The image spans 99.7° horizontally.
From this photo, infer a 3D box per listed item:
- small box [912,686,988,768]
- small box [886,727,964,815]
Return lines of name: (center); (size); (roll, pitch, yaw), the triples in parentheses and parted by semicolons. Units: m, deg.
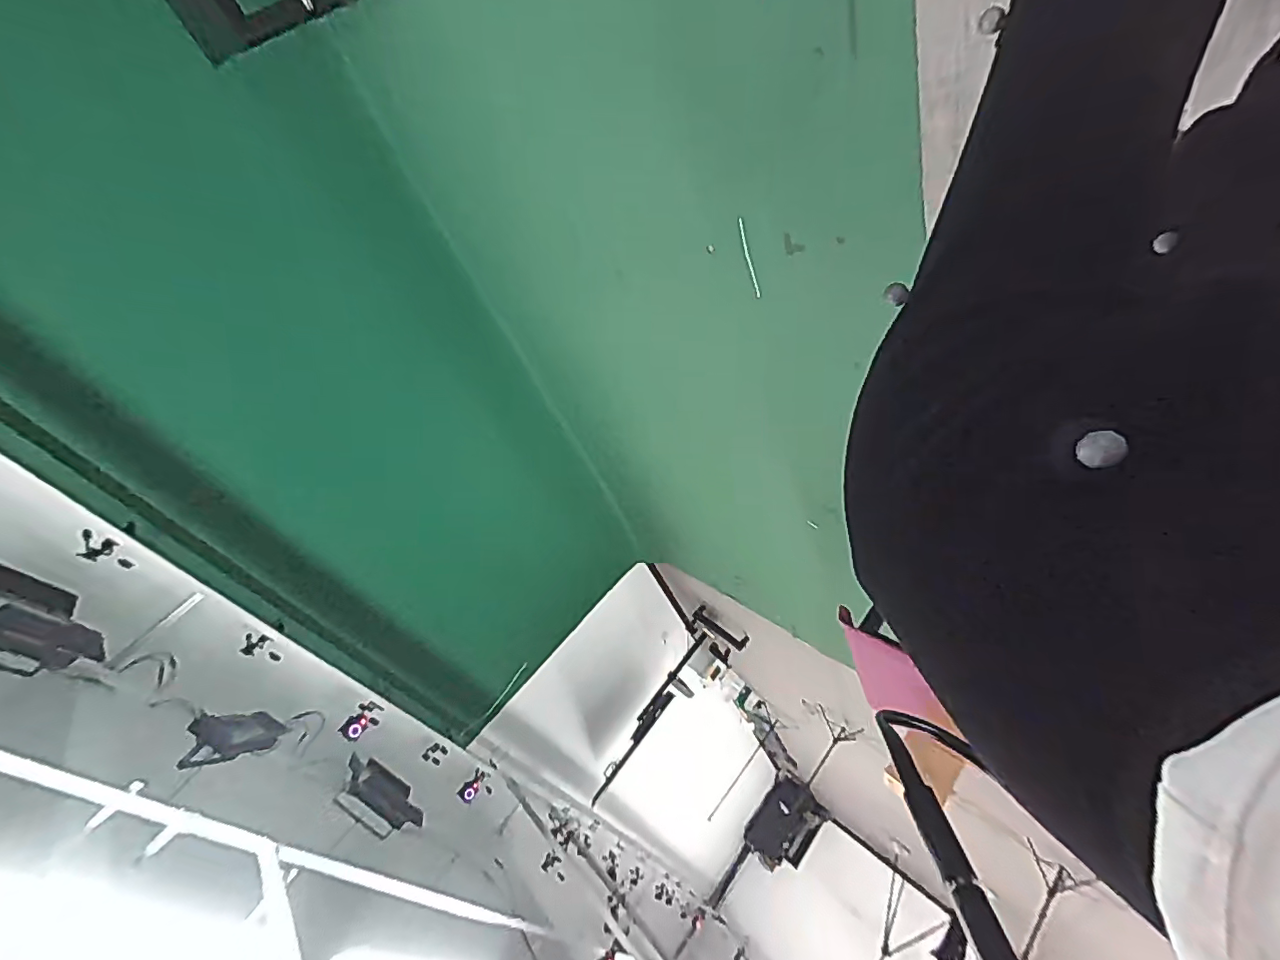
small box: (1.032, 0.829, 1.813); (0.179, 0.176, 0.168); (29, 155, 35)
small box: (0.926, 0.941, 1.757); (0.179, 0.176, 0.168); (25, 153, 38)
